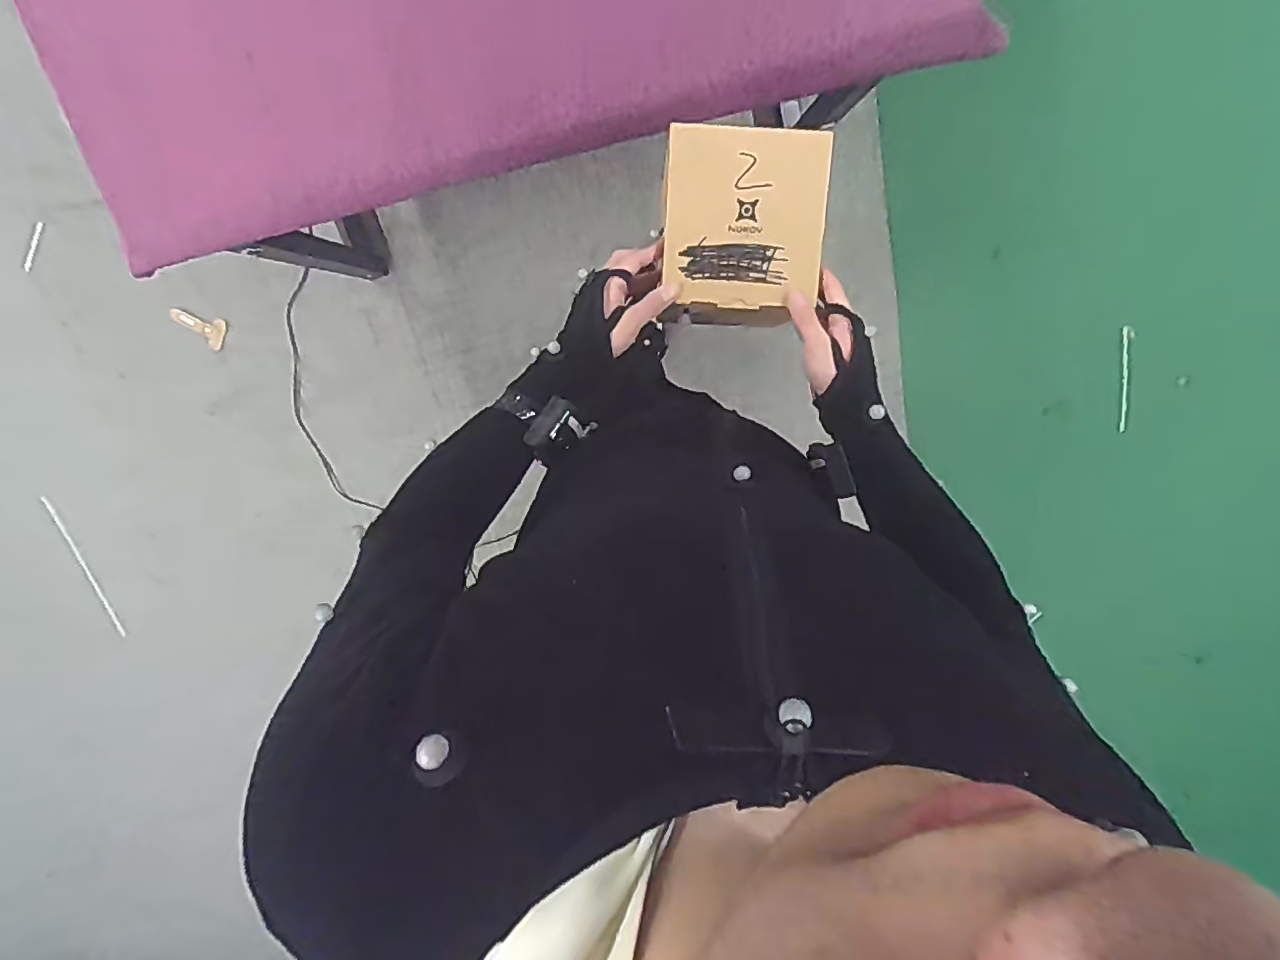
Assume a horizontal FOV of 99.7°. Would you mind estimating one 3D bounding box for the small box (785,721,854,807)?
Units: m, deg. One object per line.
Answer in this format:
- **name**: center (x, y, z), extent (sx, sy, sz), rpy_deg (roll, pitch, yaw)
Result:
- **small box**: center (0.600, 0.949, 1.815), extent (0.168, 0.176, 0.179), rpy_deg (-12, 106, 1)
